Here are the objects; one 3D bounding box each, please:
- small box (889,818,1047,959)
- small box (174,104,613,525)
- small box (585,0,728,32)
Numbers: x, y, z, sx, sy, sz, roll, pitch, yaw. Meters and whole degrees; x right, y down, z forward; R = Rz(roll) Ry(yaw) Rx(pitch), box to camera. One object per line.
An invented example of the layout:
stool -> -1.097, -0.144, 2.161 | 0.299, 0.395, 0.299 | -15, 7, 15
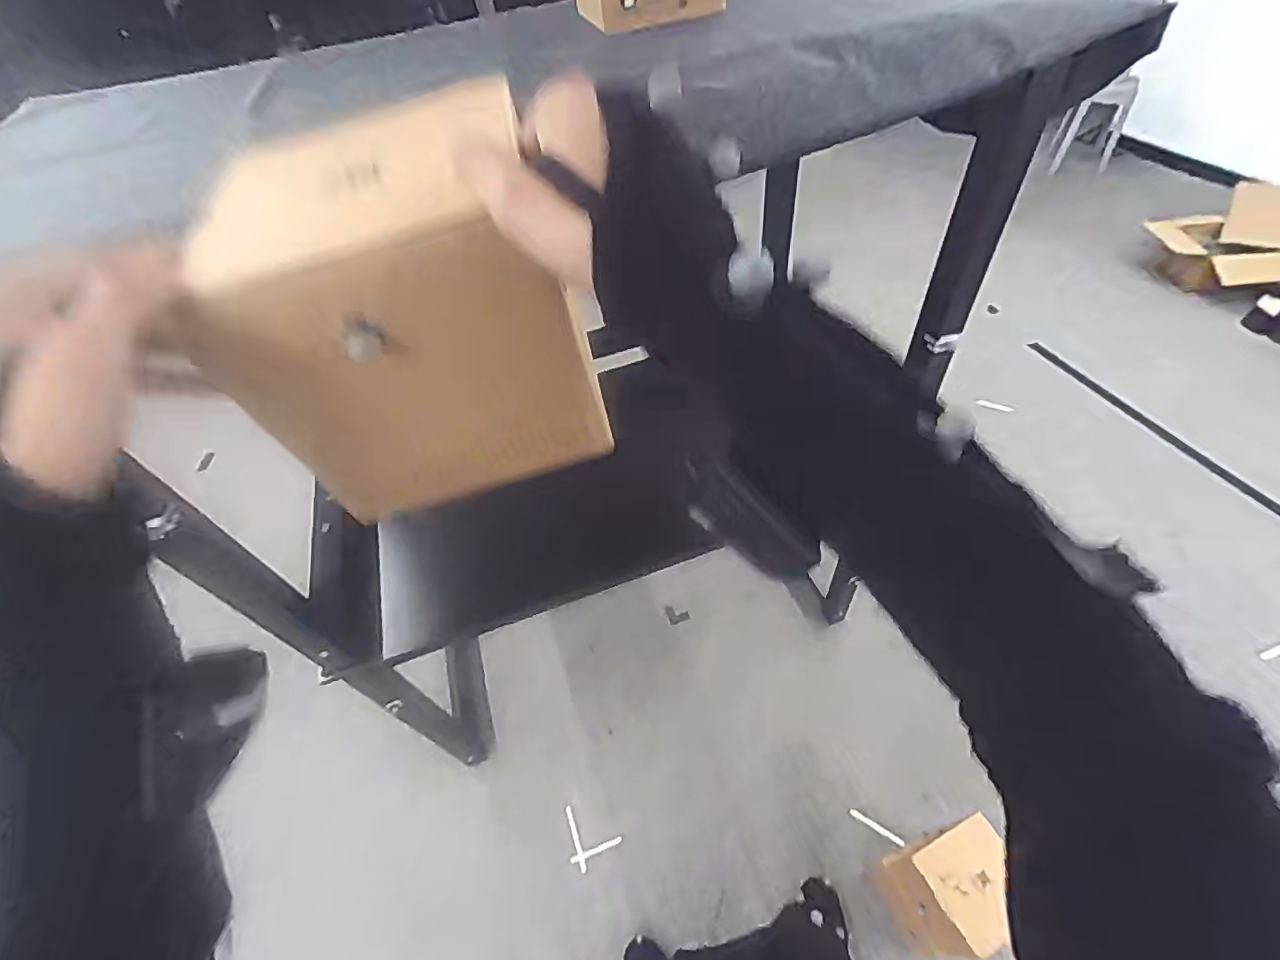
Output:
small box -> 0.624, 0.795, 1.056 | 0.179, 0.176, 0.168 | -23, 52, -11
small box -> -0.122, -0.097, 0.346 | 0.179, 0.176, 0.168 | -17, 51, 1
small box -> 0.011, -0.701, 0.692 | 0.168, 0.176, 0.179 | -15, 49, -6
